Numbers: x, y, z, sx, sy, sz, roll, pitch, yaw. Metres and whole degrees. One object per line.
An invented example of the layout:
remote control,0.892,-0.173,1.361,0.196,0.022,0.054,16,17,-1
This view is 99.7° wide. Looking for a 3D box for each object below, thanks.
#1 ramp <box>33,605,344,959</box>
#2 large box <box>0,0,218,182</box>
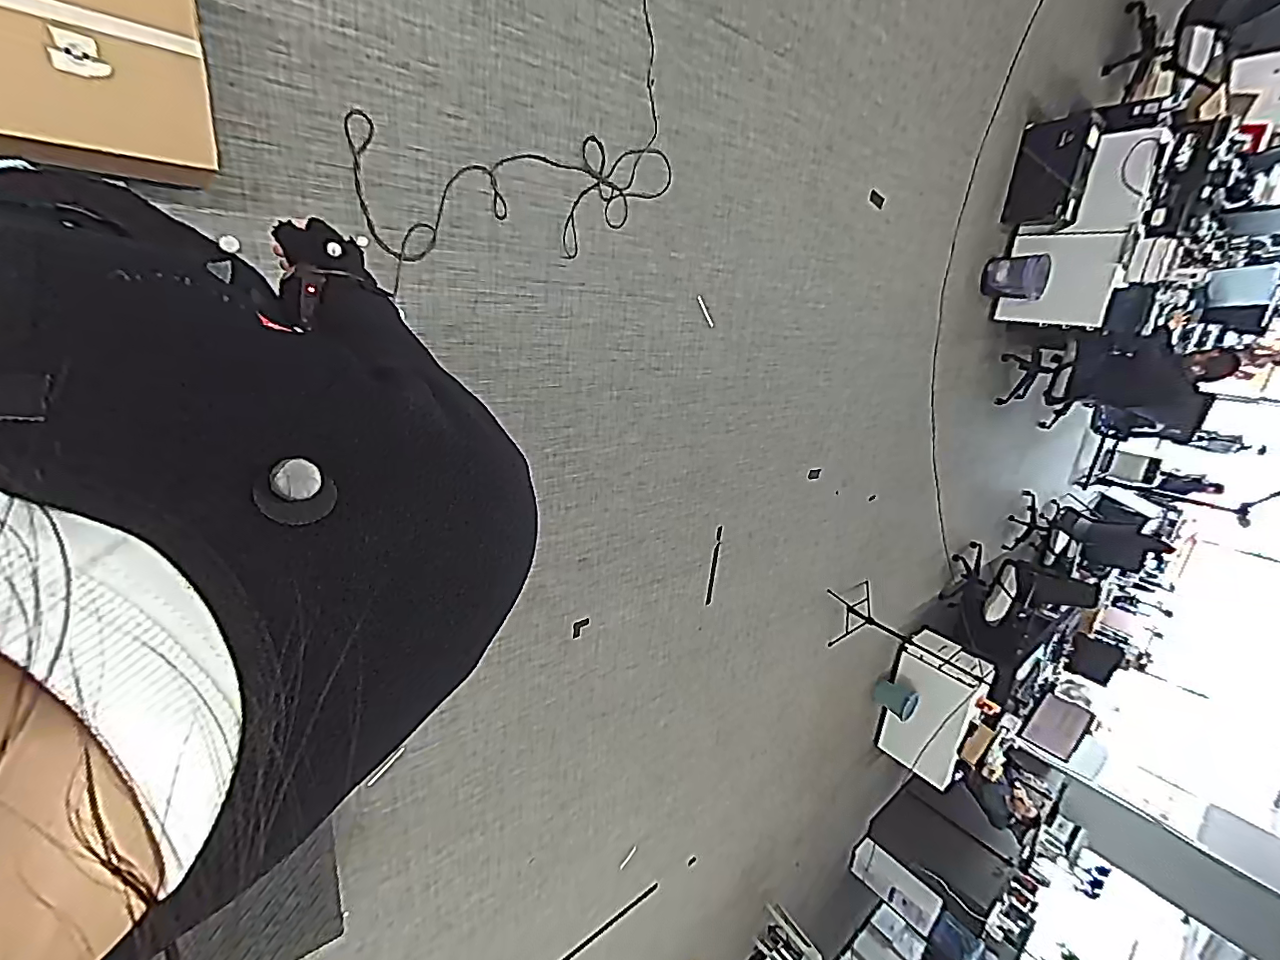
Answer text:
ramp,-1.051,0.838,1.331,0.509,0.206,0.991,-9,113,-37
large box,-0.896,-0.648,0.777,0.408,0.320,0.320,-11,115,-39
